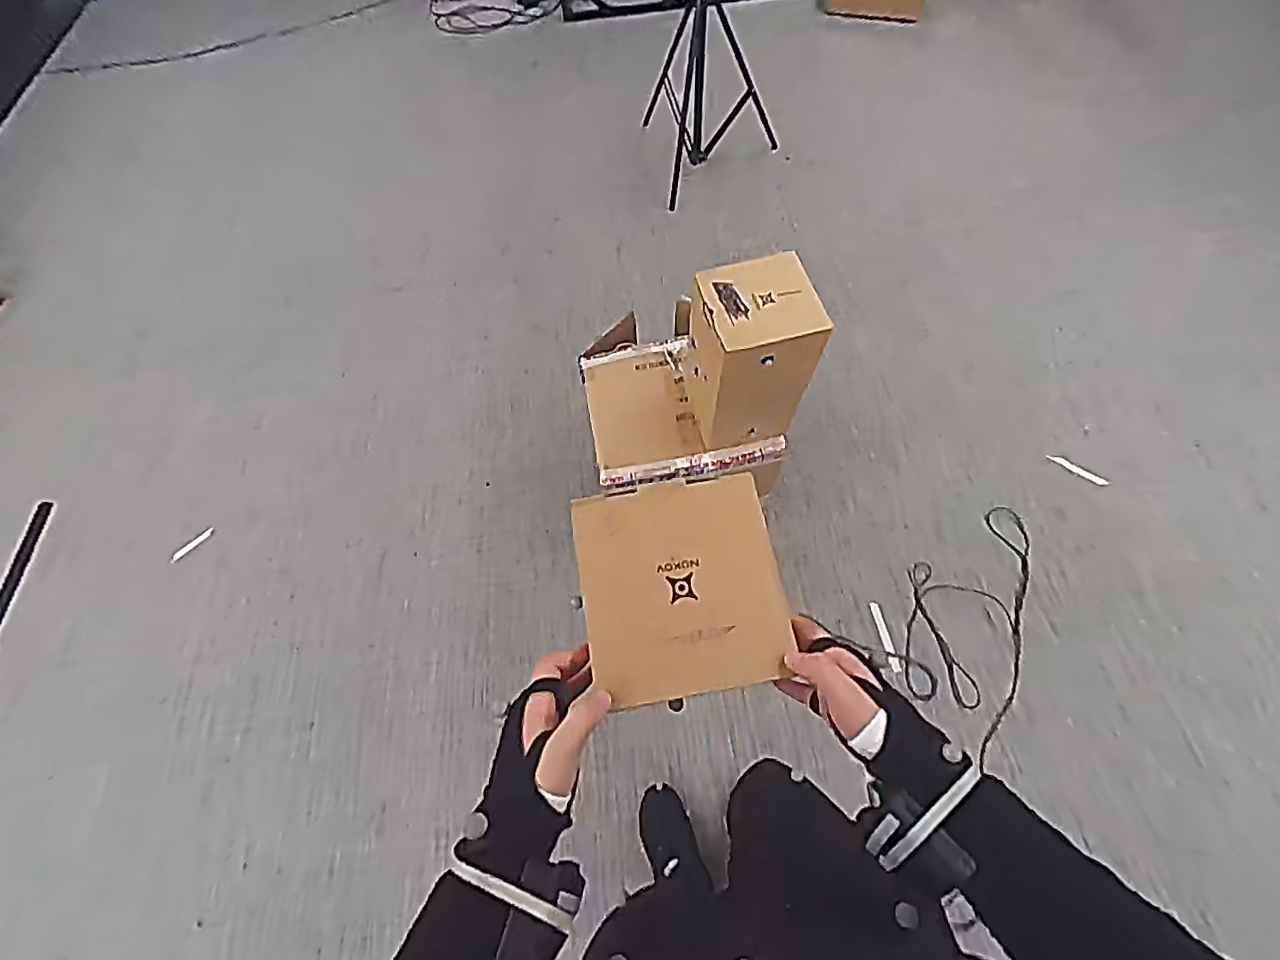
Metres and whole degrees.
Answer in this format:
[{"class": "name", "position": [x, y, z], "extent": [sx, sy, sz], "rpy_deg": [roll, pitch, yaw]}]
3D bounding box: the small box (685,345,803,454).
[{"class": "small box", "position": [0.196, -0.172, 1.078], "extent": [0.179, 0.176, 0.168], "rpy_deg": [-14, 66, -5]}]

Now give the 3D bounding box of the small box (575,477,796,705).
[{"class": "small box", "position": [0.031, 0.115, 0.534], "extent": [0.168, 0.176, 0.179], "rpy_deg": [-9, 71, -4]}]

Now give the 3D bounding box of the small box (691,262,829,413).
[{"class": "small box", "position": [0.191, -0.235, 0.925], "extent": [0.179, 0.176, 0.168], "rpy_deg": [-14, 67, -5]}]
